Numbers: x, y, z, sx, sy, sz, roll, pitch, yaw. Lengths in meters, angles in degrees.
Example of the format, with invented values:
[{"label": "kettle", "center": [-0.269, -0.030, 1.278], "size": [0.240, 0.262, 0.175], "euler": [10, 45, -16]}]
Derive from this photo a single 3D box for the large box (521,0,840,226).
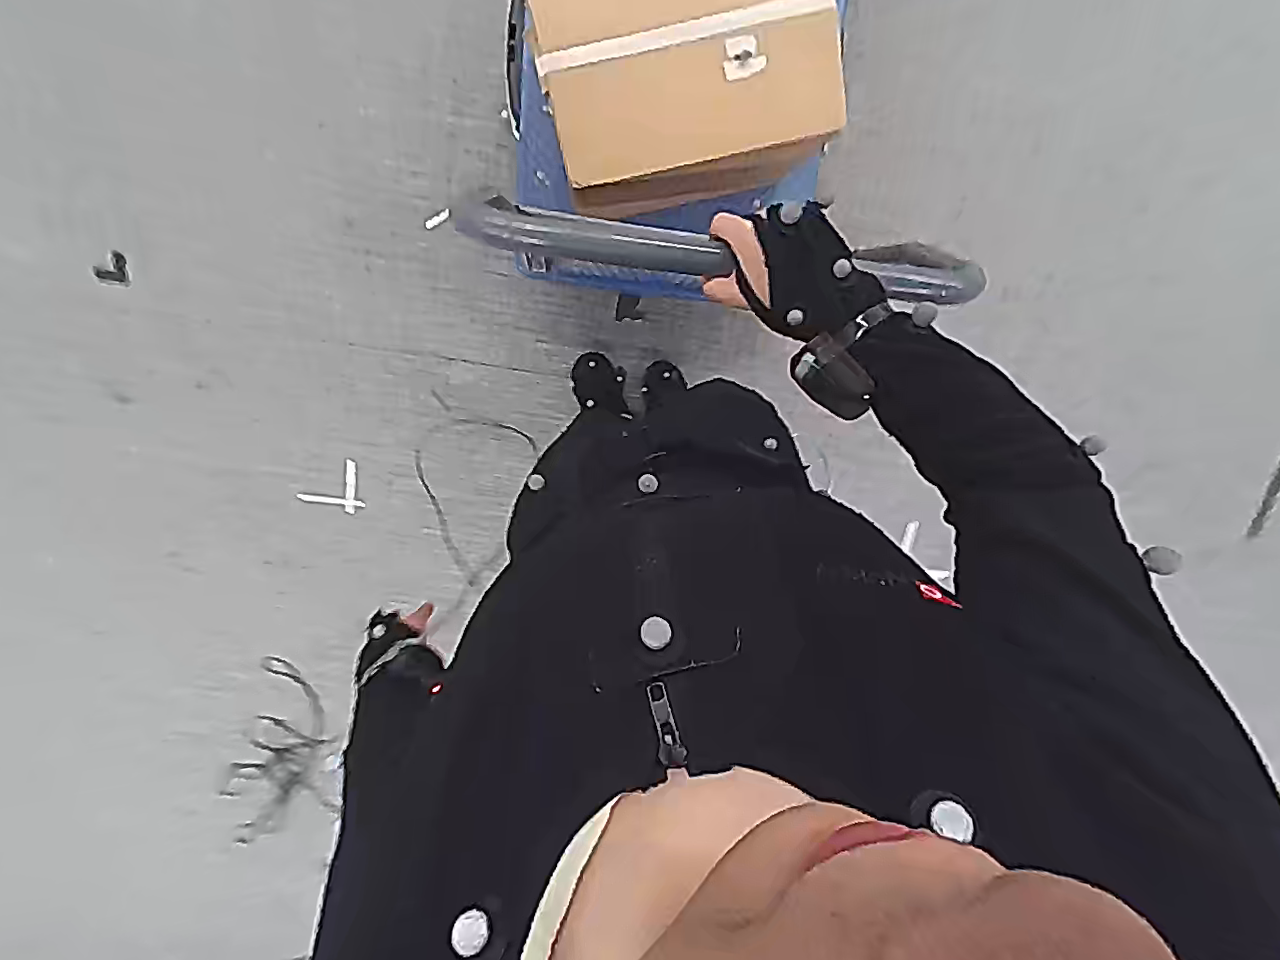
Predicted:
[{"label": "large box", "center": [0.048, -0.643, 0.873], "size": [0.408, 0.320, 0.320], "euler": [-14, 107, -1]}]
